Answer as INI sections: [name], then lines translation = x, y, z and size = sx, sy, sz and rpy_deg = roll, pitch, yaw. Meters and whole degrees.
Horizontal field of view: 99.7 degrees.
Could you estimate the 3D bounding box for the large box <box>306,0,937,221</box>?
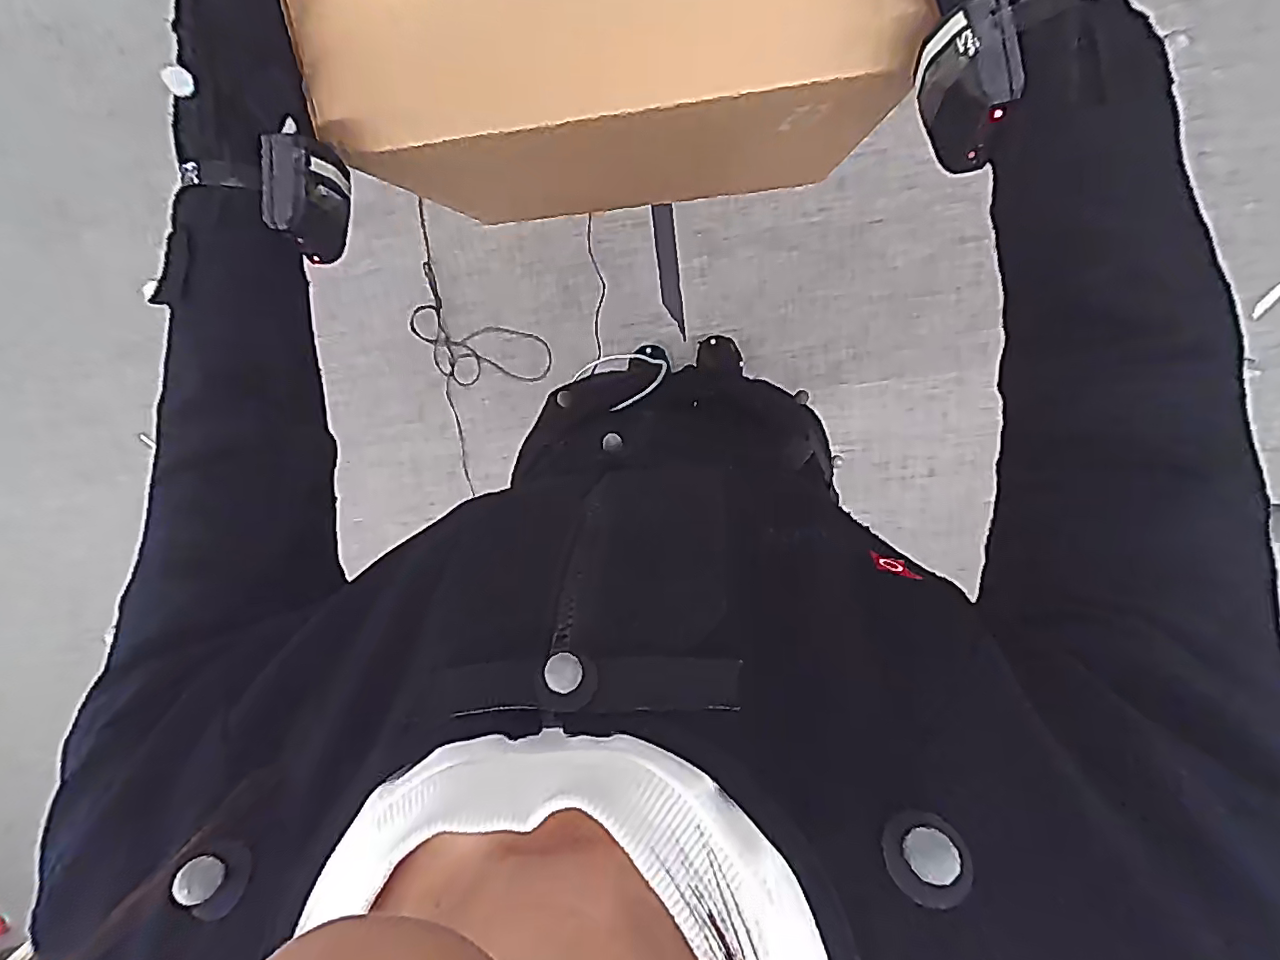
[large box]
translation = -0.021, -0.437, 0.459
size = 0.408, 0.320, 0.320
rpy_deg = -5, 107, 6
